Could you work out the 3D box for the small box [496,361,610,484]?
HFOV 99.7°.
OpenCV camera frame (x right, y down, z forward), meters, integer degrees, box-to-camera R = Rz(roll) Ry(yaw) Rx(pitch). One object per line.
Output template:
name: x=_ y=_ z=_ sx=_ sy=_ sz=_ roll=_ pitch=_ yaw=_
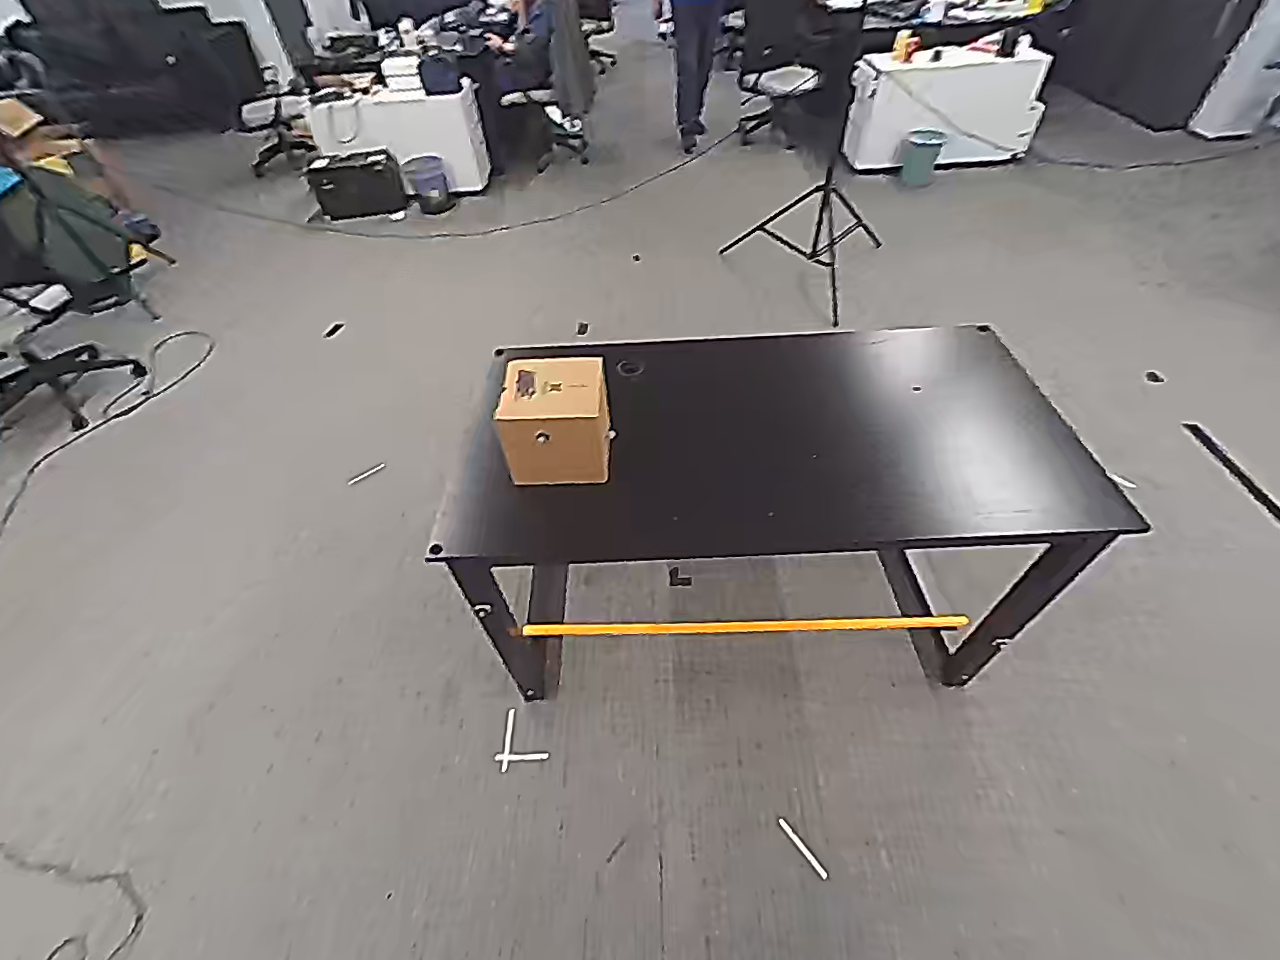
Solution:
small box: x=-0.152 y=-0.104 z=1.015 sx=0.179 sy=0.176 sz=0.168 roll=-1 pitch=49 yaw=1
